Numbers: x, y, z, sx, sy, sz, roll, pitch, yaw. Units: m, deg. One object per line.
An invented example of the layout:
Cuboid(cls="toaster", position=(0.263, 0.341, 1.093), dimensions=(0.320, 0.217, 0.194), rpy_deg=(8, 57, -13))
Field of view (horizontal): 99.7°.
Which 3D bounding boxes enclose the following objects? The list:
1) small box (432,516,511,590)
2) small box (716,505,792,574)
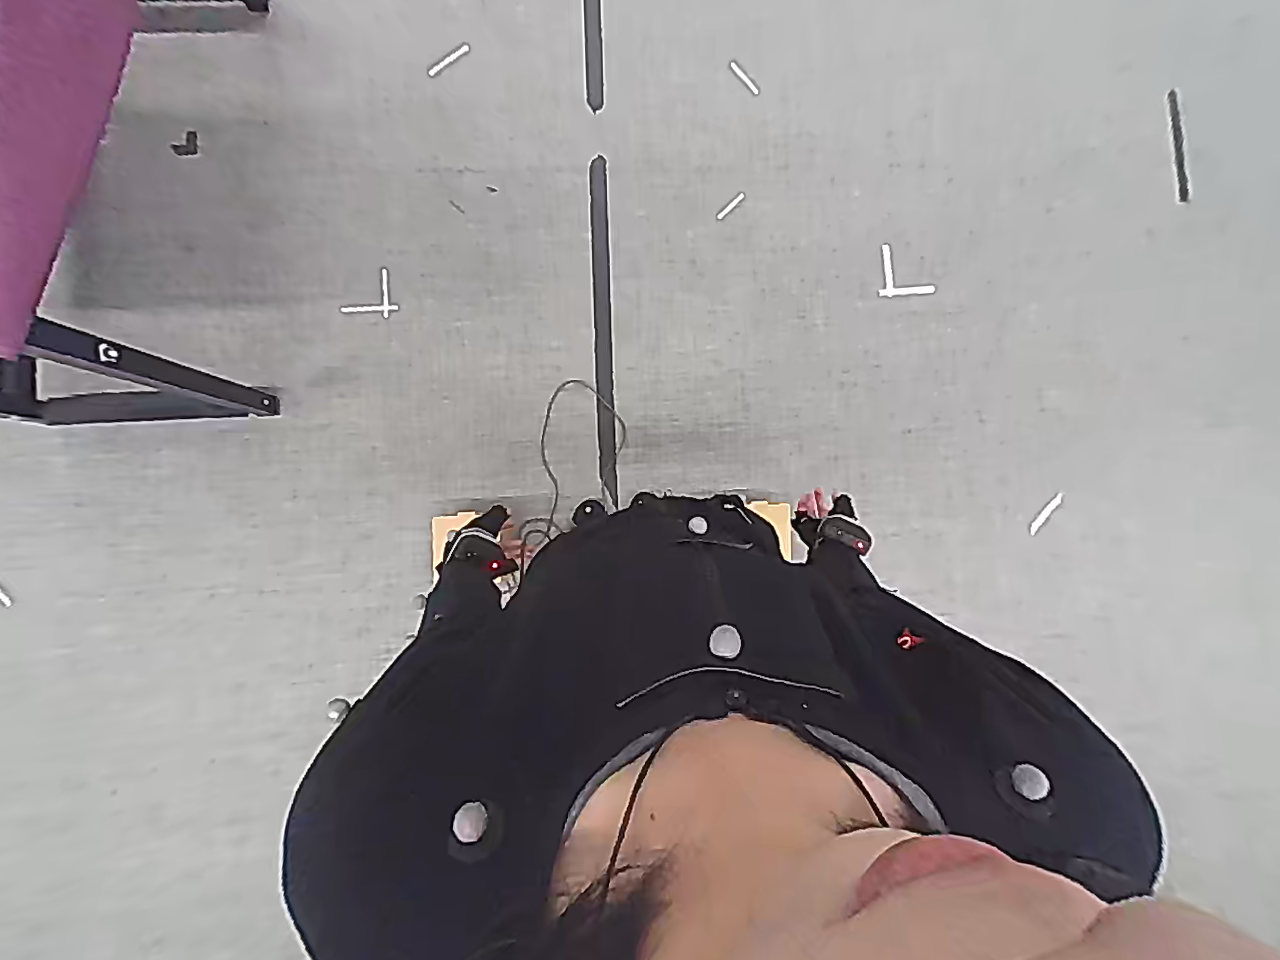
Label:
Cuboid(cls="small box", position=(-0.430, 0.186, 1.397), dimensions=(0.168, 0.176, 0.179), rpy_deg=(-2, 85, -5))
Cuboid(cls="small box", position=(0.301, 0.157, 1.460), dimensions=(0.168, 0.176, 0.179), rpy_deg=(0, 88, -3))
